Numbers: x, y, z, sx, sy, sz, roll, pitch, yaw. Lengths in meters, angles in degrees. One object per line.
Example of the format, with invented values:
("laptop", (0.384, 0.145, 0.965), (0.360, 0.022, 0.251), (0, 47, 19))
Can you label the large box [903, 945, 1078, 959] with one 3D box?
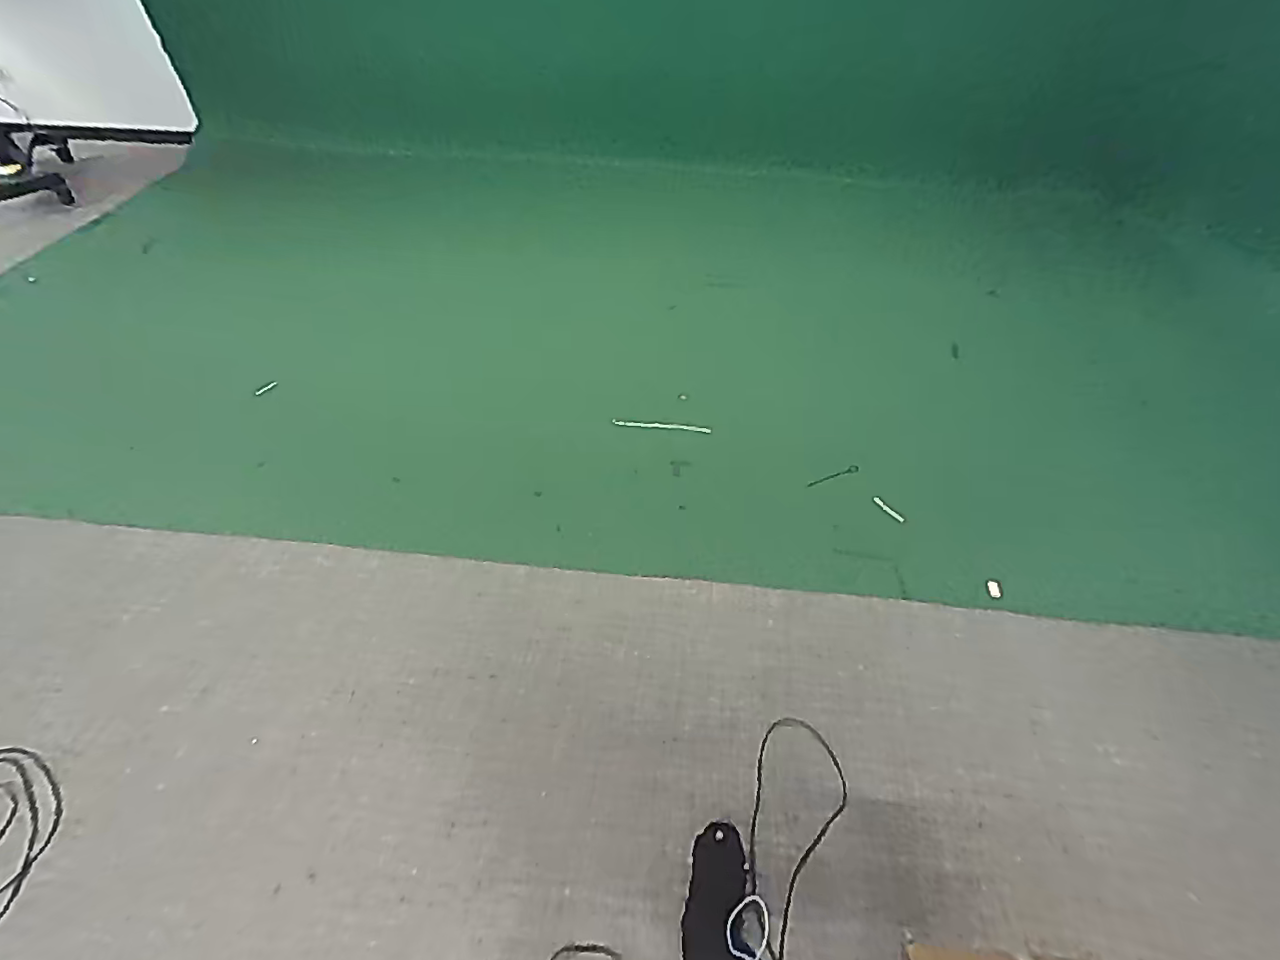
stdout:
("large box", (0.513, 0.798, 0.555), (0.320, 0.408, 0.320), (3, 81, 5))
